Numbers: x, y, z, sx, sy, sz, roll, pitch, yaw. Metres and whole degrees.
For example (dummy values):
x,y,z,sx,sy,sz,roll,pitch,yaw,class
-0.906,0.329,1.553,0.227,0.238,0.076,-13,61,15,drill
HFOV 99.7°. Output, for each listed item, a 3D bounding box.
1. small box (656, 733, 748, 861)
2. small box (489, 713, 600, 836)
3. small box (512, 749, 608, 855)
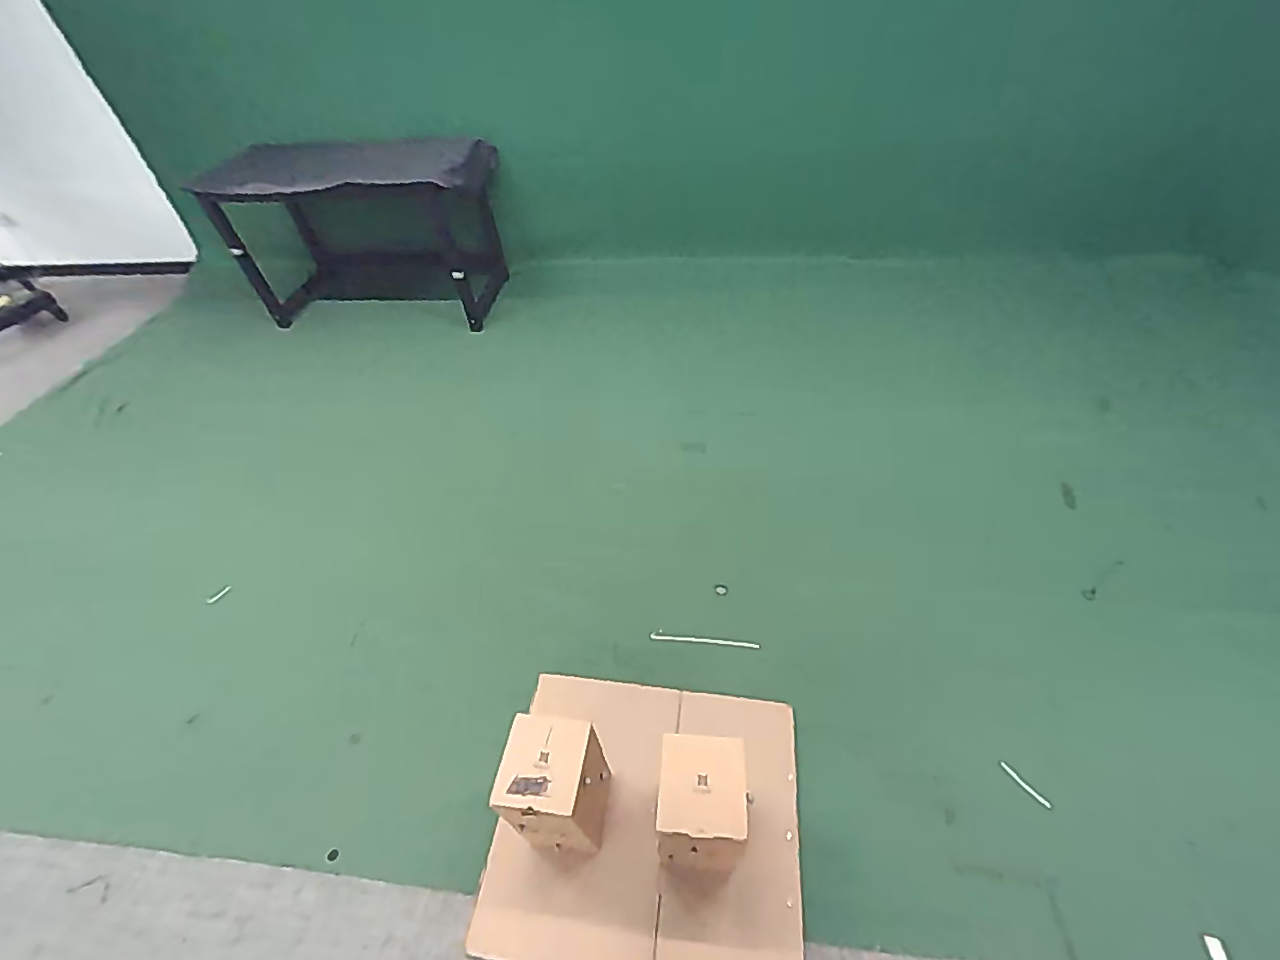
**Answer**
x,y,z,sx,sy,sz,roll,pitch,yaw,class
0.122,0.629,1.073,0.168,0.176,0.179,1,46,7,small box
-0.186,0.610,1.115,0.168,0.176,0.179,3,46,10,small box
-0.172,0.725,1.232,0.168,0.176,0.179,2,46,9,small box
